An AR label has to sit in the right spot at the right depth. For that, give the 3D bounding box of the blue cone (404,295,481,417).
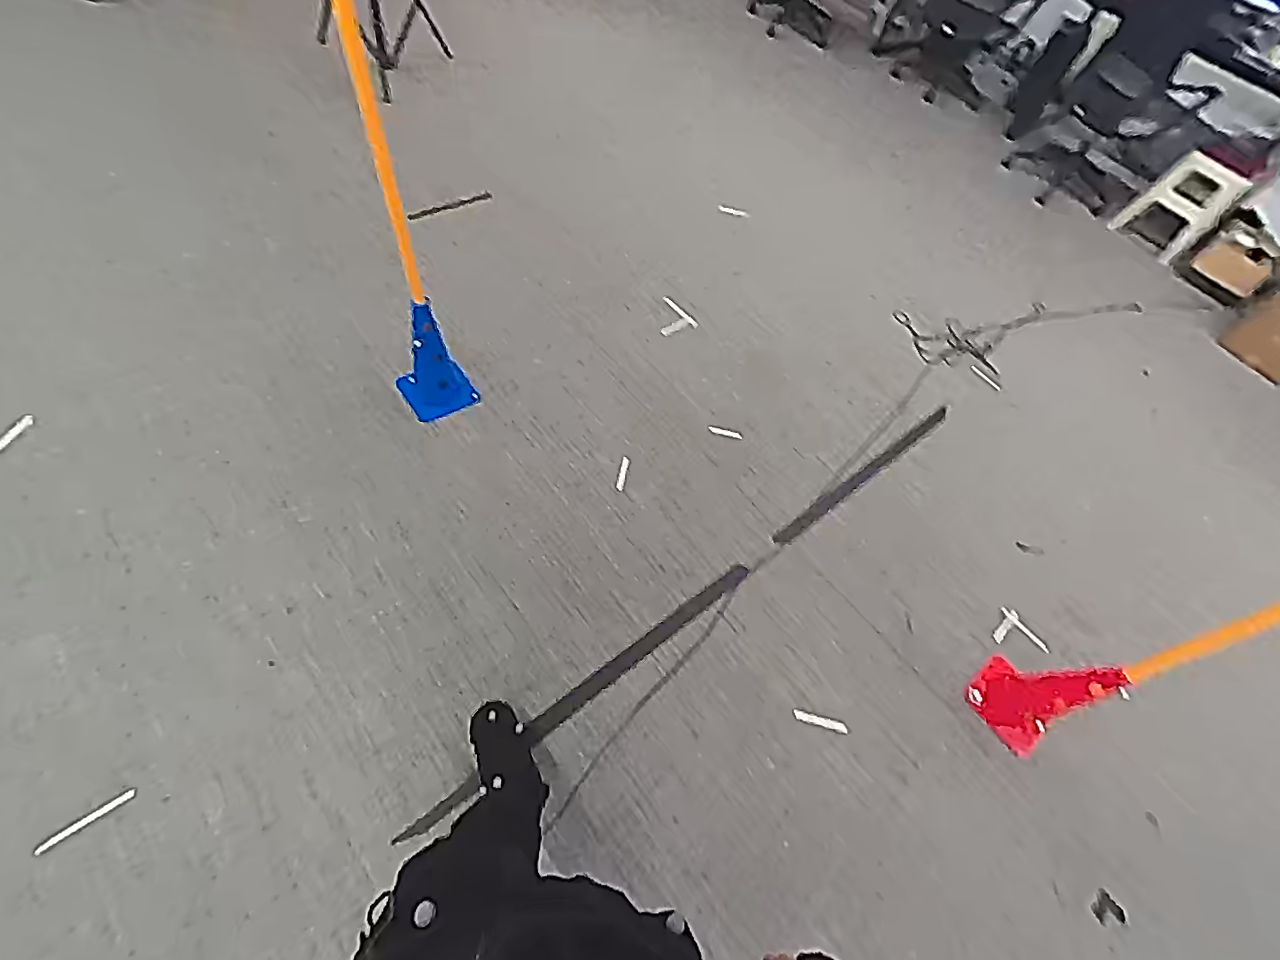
[{"bbox_3d":[-0.593,-0.371,1.559,0.192,0.380,0.193,-28,68,-26],"label":"blue cone"}]
